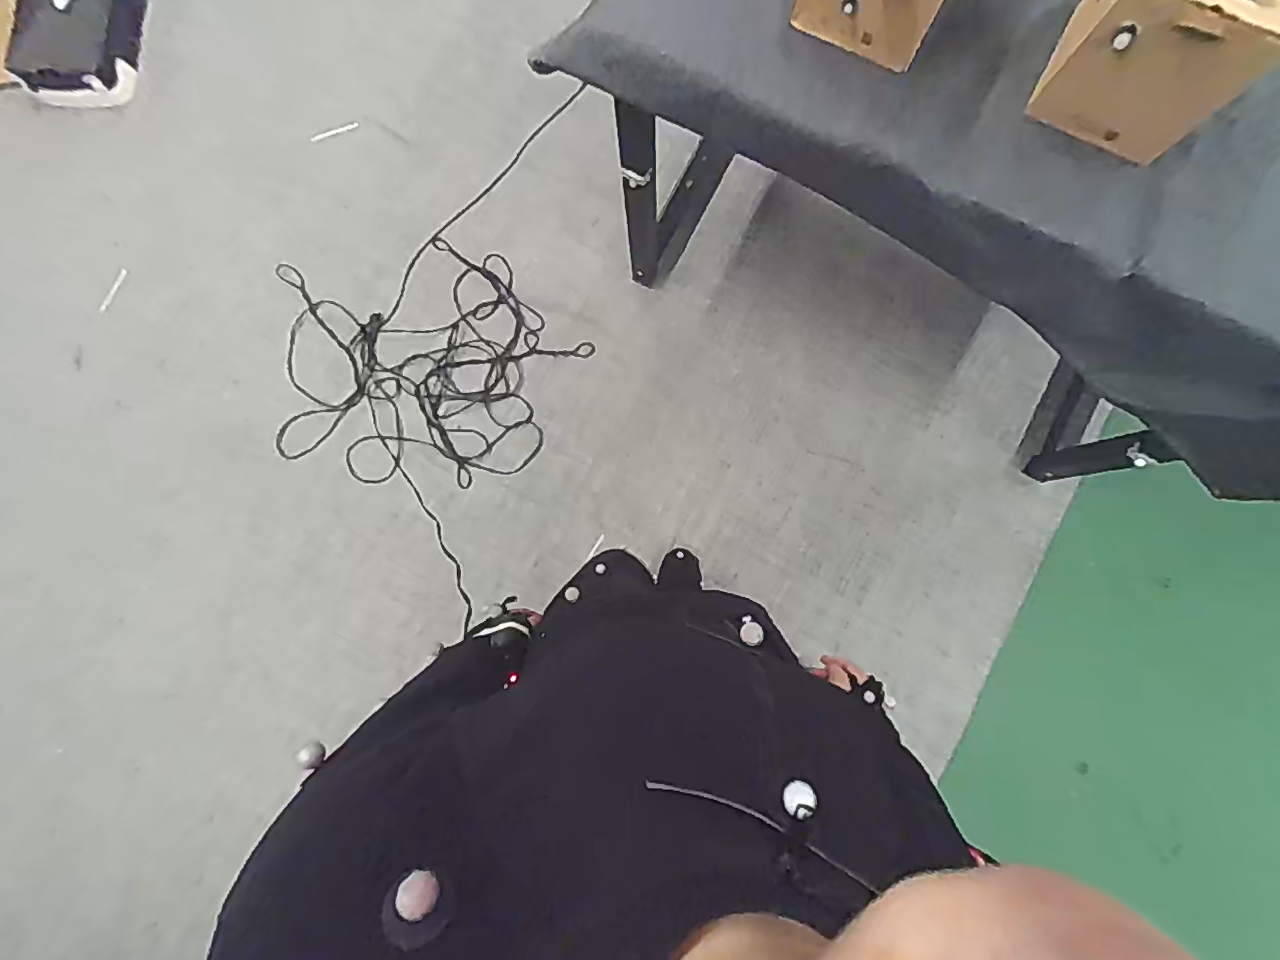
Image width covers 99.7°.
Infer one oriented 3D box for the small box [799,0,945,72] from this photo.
[{"bbox_3d":[0.311,-0.651,0.641,0.168,0.176,0.179,28,86,4],"label":"small box"}]
